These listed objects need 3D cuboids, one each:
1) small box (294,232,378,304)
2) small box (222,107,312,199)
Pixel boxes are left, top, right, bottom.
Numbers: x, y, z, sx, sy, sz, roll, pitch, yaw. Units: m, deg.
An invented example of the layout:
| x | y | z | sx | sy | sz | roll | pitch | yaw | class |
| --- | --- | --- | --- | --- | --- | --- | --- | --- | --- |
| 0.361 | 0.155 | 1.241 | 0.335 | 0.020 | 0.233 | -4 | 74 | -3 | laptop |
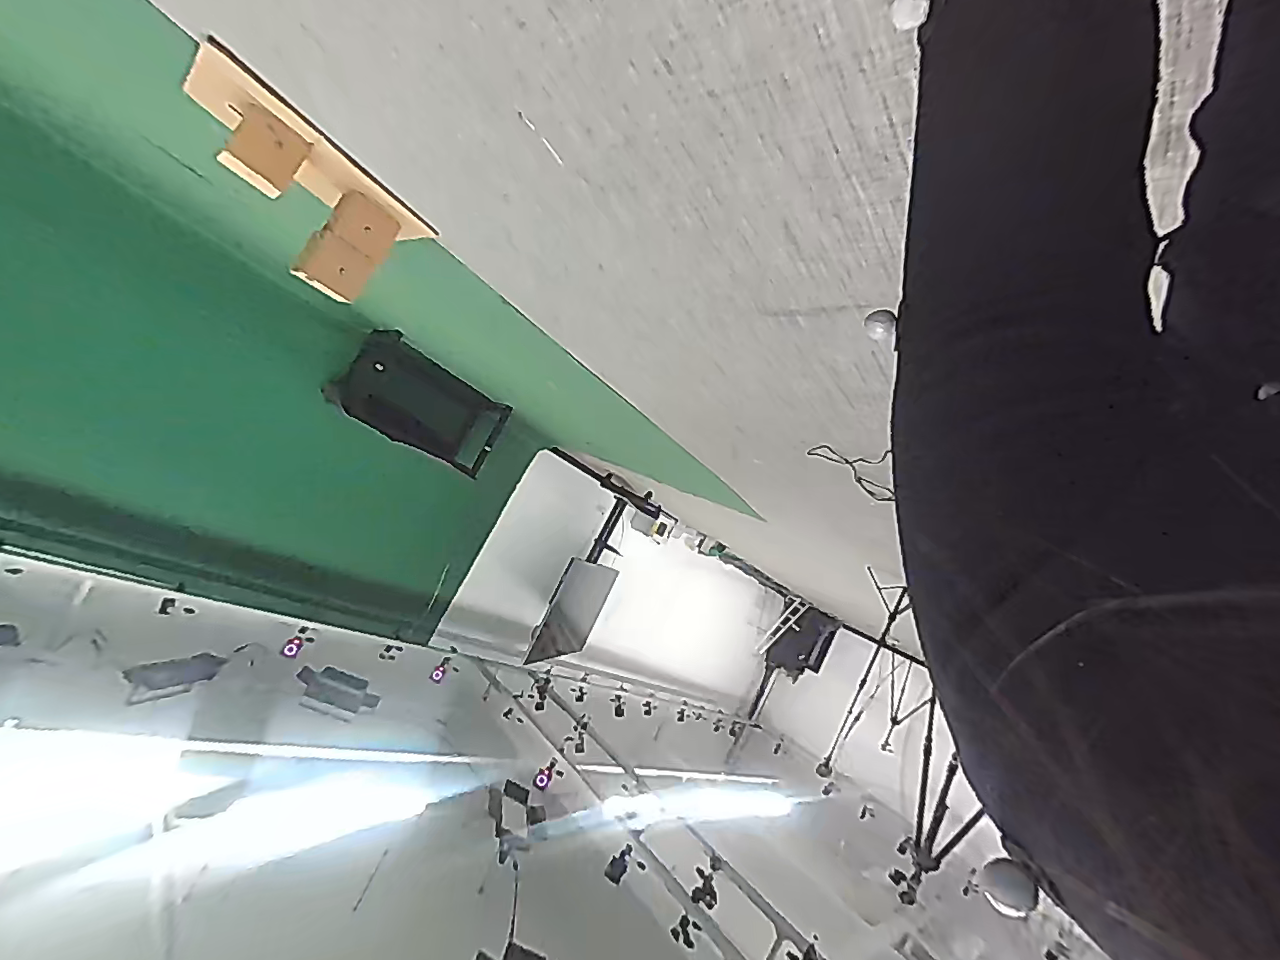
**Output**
| x | y | z | sx | sy | sz | roll | pitch | yaw | class |
| --- | --- | --- | --- | --- | --- | --- | --- | --- | --- |
| -1.063 | -0.745 | 1.893 | 0.168 | 0.176 | 0.179 | 22 | 173 | 41 | small box |
| -1.161 | -1.016 | 1.687 | 0.179 | 0.176 | 0.168 | 21 | 170 | 45 | small box |
